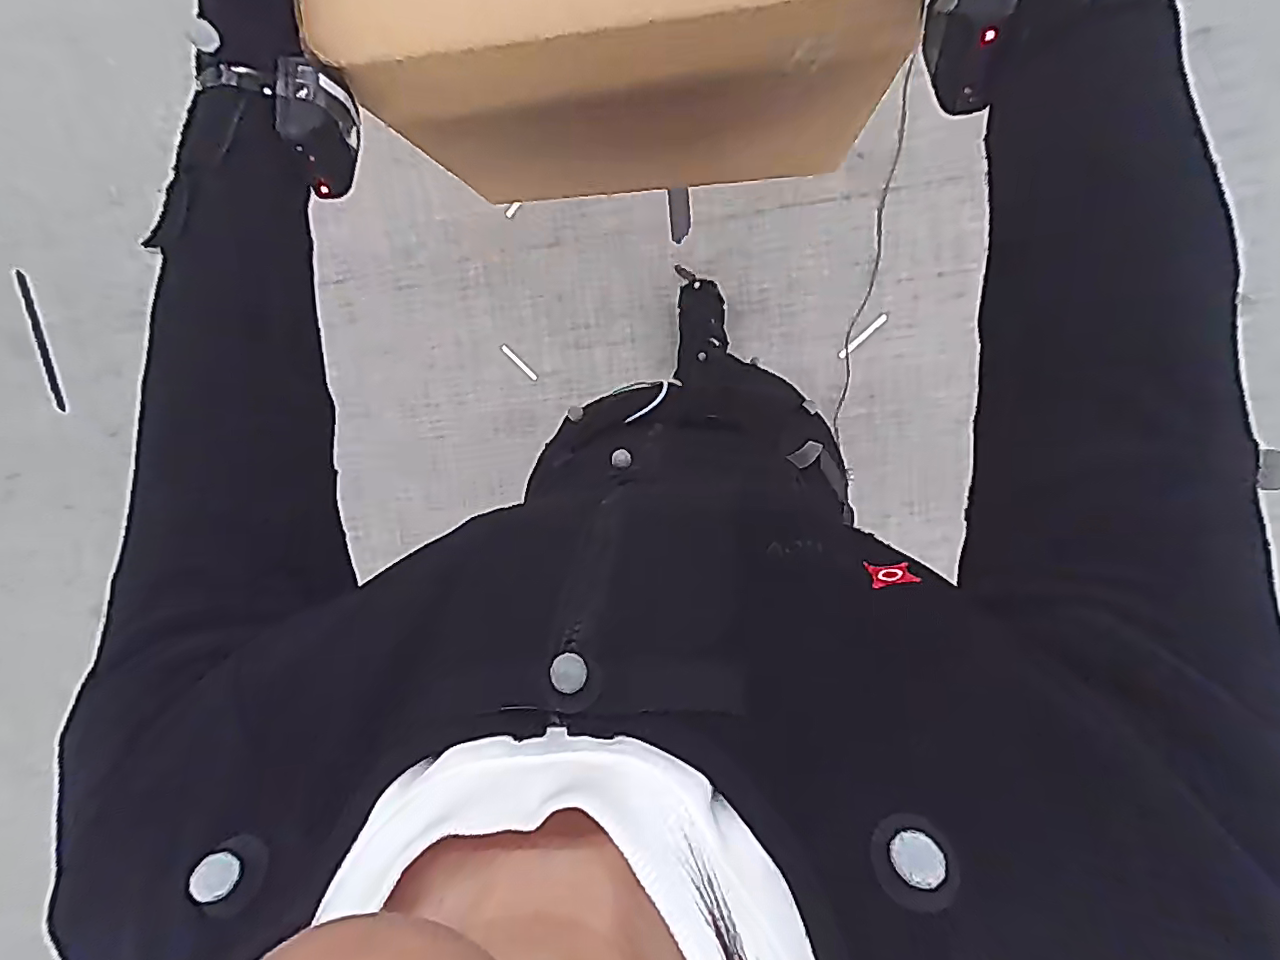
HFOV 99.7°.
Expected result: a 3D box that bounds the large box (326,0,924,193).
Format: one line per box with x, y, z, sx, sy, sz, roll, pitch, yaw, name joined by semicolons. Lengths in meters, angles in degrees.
-0.005;-0.473;0.455;0.408;0.320;0.320;-2;102;7;large box
